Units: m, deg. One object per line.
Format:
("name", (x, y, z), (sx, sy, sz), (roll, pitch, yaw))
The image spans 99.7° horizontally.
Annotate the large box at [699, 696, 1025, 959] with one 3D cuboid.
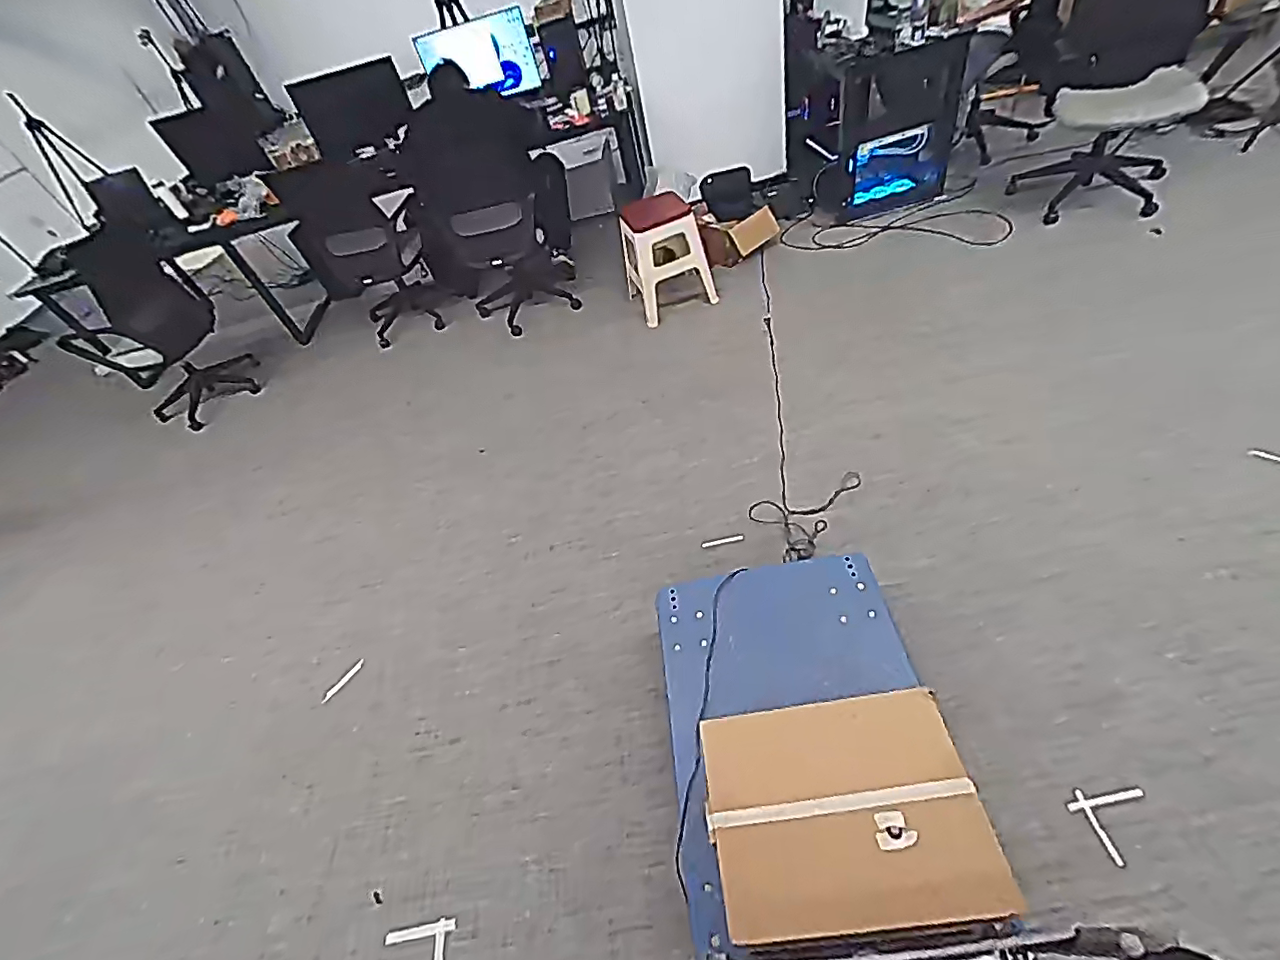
("large box", (0.338, 0.618, 0.943), (0.408, 0.320, 0.320), (-11, 47, 5))
